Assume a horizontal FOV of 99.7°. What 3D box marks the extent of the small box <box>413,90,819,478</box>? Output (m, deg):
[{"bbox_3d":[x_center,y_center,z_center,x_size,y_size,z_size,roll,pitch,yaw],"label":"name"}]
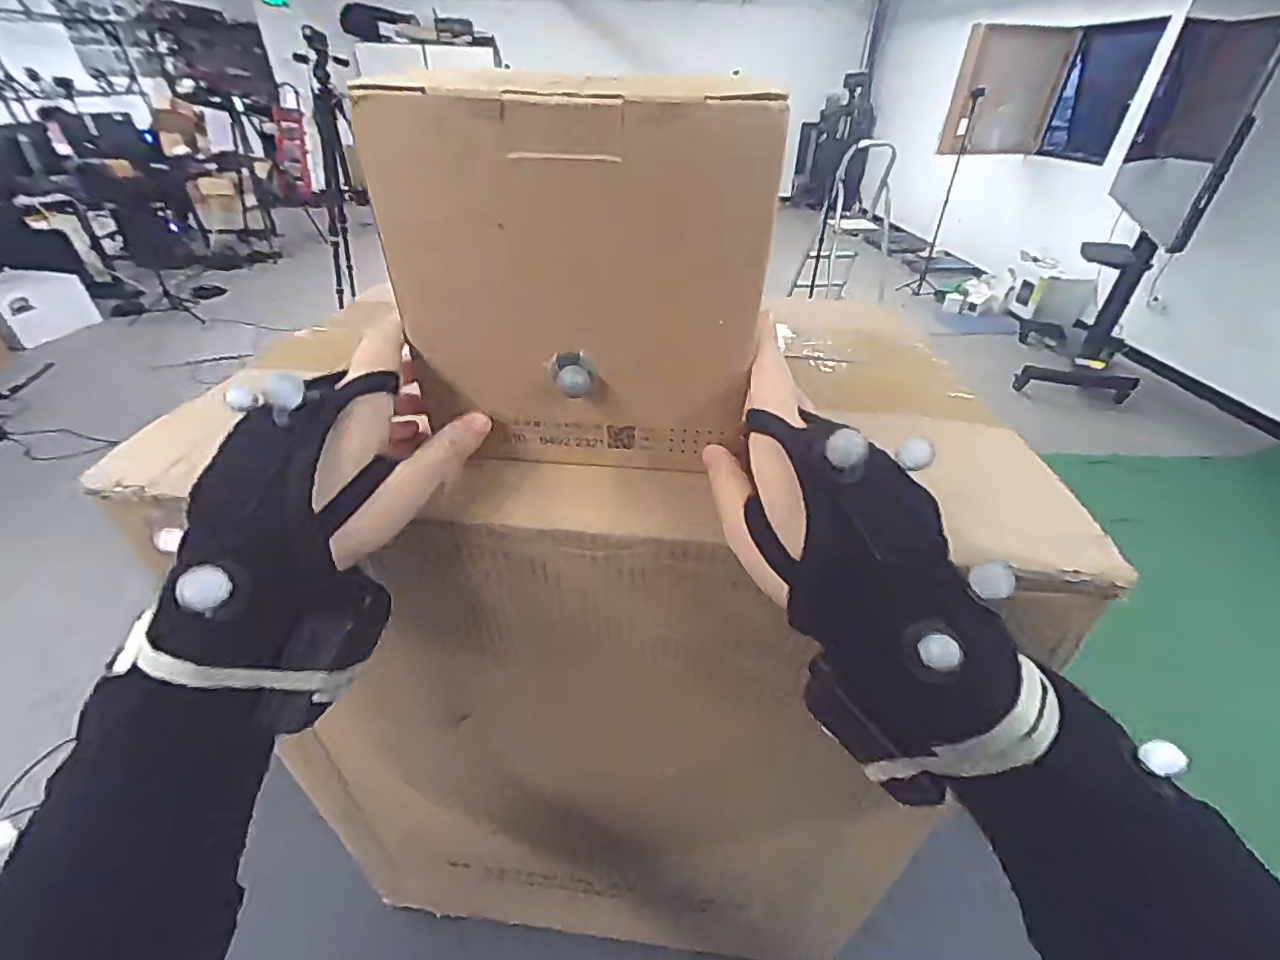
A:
[{"bbox_3d":[-0.007,-0.123,0.325,0.168,0.176,0.179,4,38,3],"label":"small box"}]
